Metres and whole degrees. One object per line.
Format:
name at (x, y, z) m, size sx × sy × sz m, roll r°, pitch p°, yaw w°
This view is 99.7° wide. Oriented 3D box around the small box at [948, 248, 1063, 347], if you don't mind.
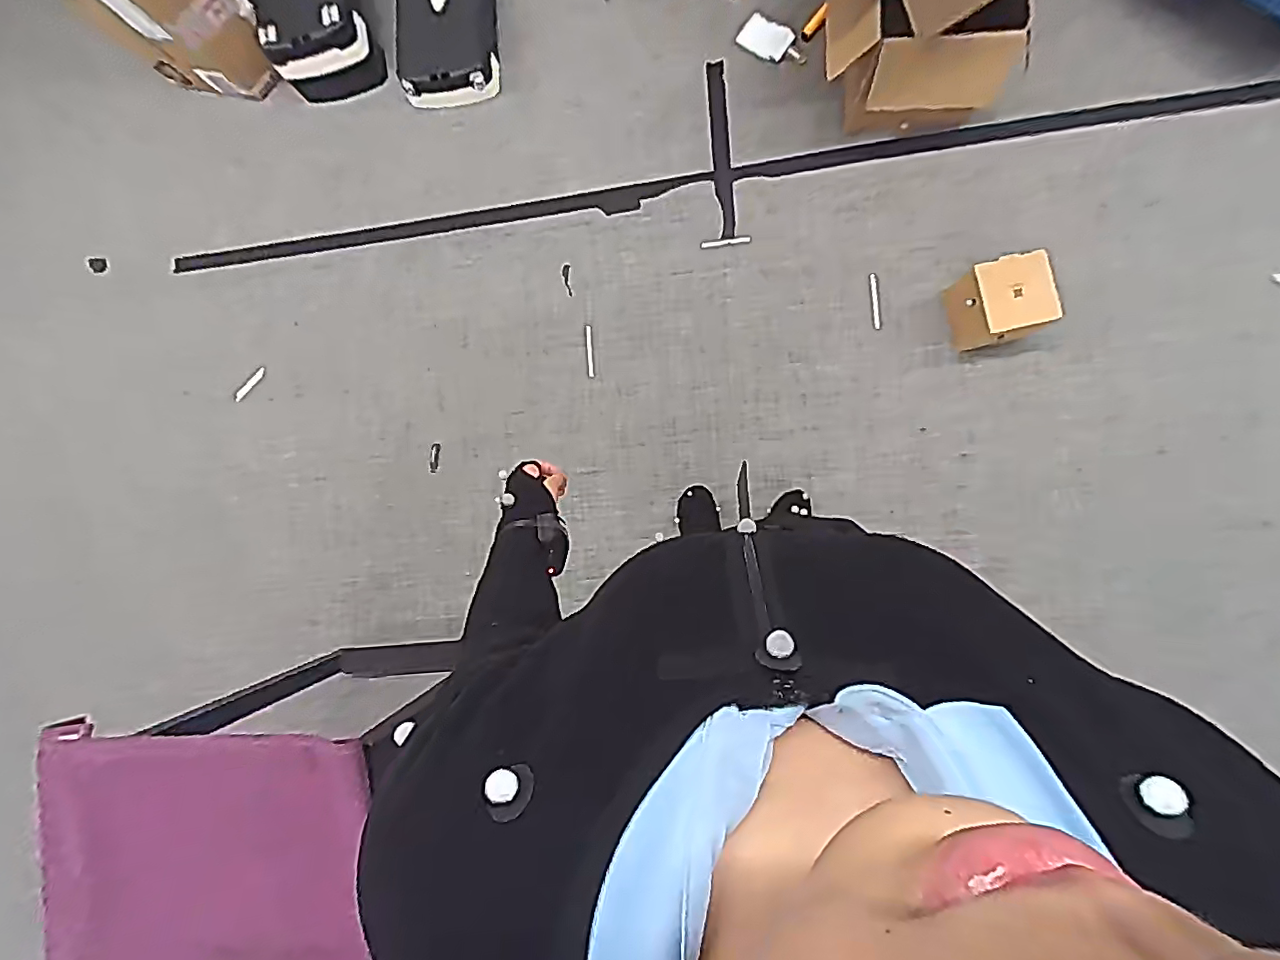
small box at (0.910, -0.447, 1.362) m, size 0.168 × 0.176 × 0.179 m, roll -12°, pitch 86°, yaw 6°
